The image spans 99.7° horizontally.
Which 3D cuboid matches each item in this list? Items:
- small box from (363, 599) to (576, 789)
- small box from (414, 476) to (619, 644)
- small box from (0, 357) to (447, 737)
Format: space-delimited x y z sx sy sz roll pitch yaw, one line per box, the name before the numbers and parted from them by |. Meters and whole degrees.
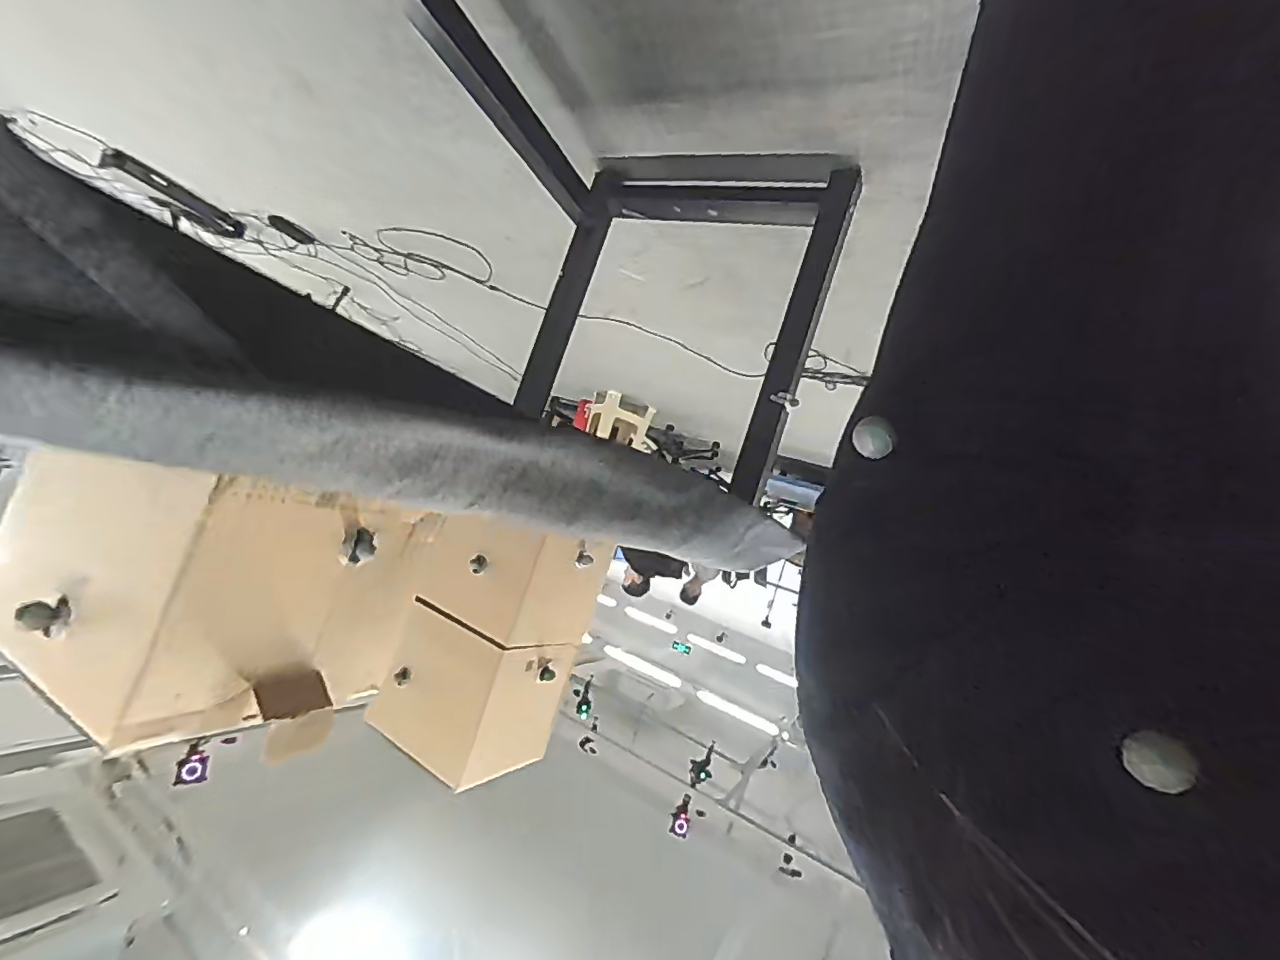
small box | -0.212 0.254 0.702 0.179 0.176 0.168 16 176 29
small box | -0.156 0.102 0.718 0.179 0.176 0.168 16 175 30
small box | -0.265 0.034 0.361 0.179 0.176 0.168 18 175 23
